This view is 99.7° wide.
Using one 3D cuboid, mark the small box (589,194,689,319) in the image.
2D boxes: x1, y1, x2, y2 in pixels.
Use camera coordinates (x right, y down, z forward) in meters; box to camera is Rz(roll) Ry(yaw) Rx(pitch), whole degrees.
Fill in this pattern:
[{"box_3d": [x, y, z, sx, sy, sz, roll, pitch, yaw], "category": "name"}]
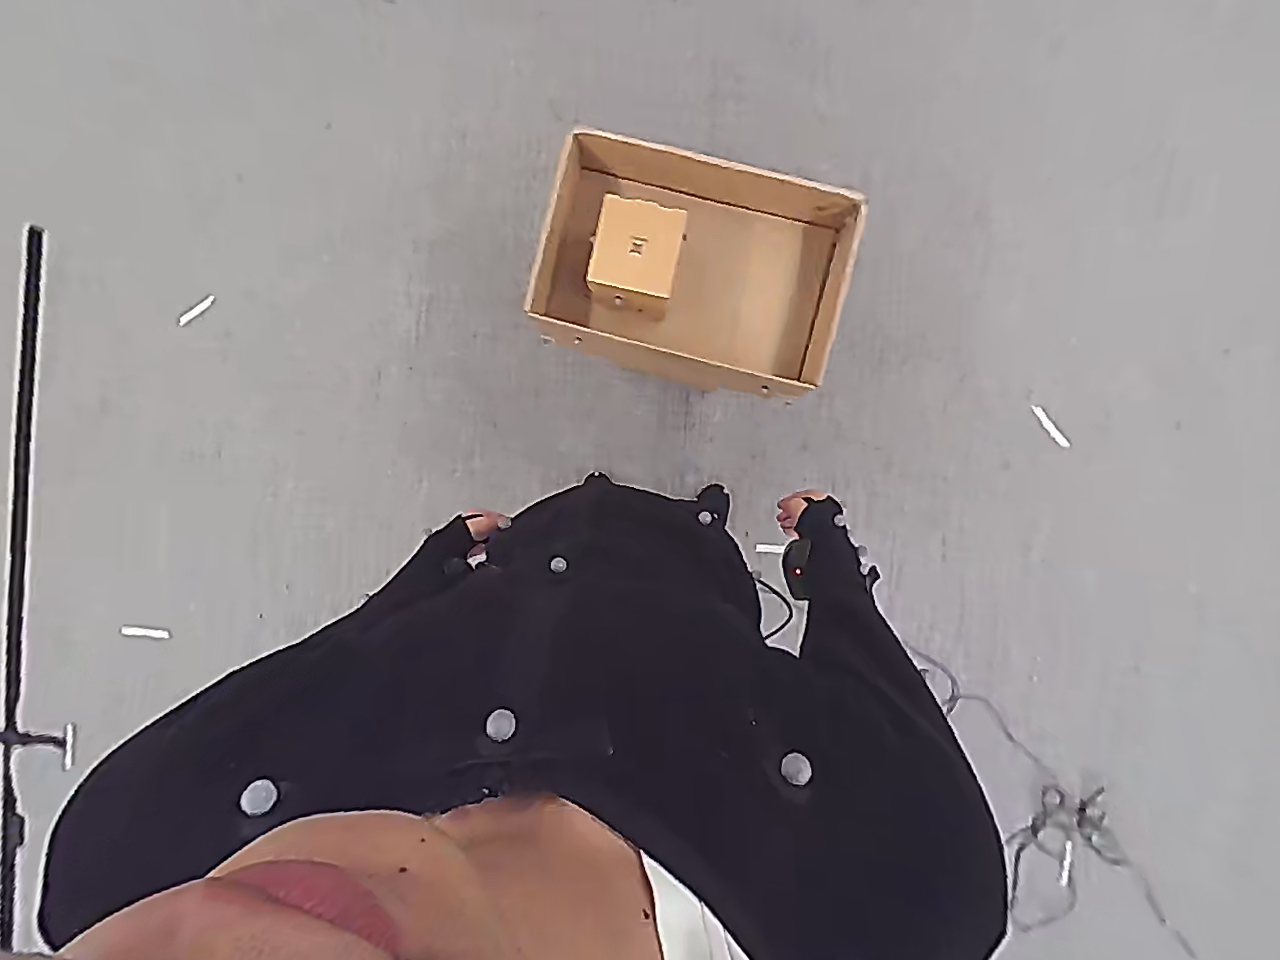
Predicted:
[{"box_3d": [0.001, -0.452, 1.123, 0.168, 0.176, 0.179, 13, 91, 1], "category": "small box"}]
